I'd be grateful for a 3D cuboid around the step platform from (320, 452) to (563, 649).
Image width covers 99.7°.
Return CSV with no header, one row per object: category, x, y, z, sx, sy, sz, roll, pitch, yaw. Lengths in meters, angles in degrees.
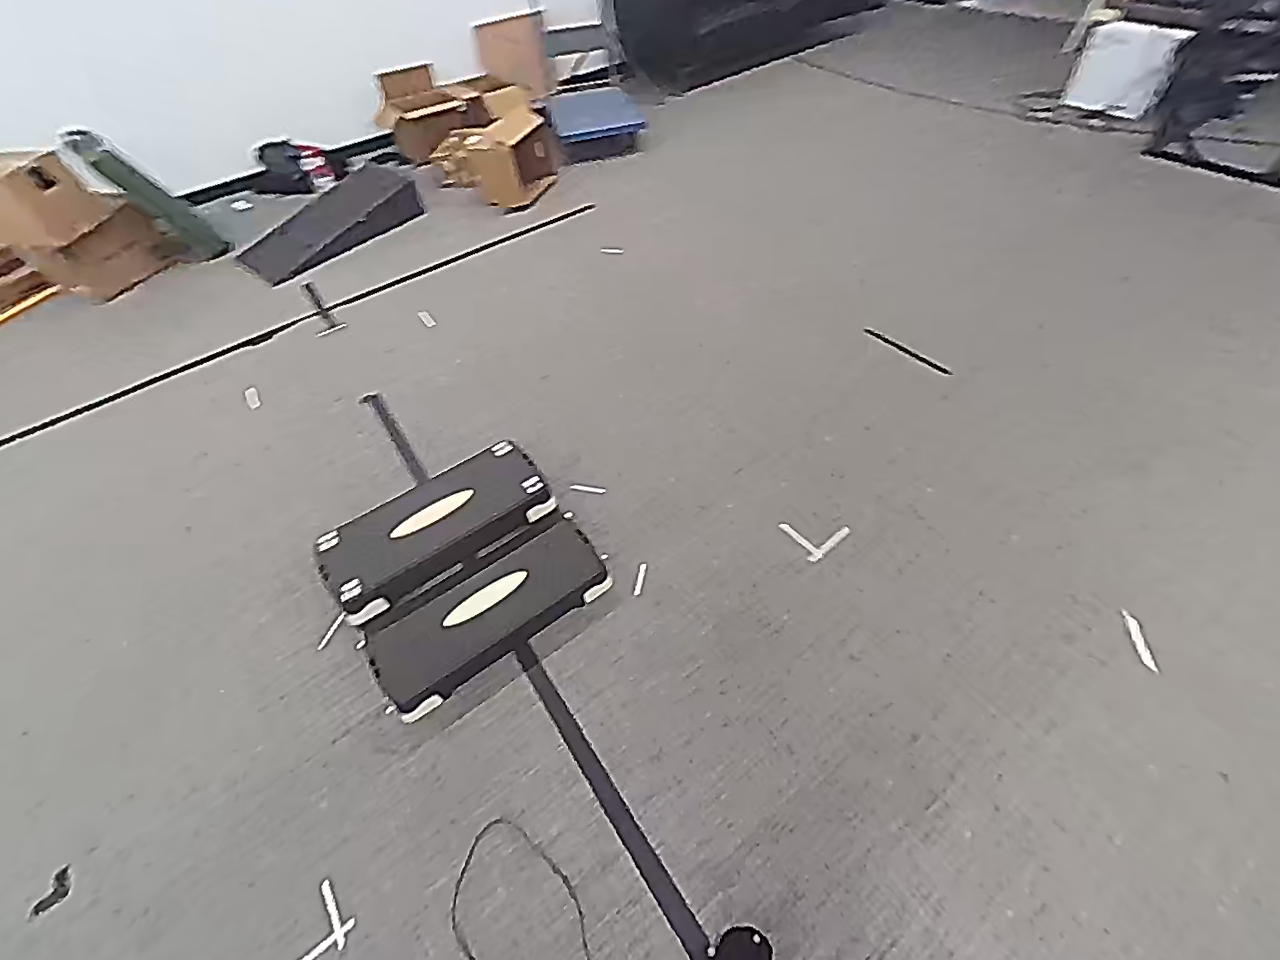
step platform,-0.588,0.194,1.648,0.684,0.204,0.286,-32,55,-20
